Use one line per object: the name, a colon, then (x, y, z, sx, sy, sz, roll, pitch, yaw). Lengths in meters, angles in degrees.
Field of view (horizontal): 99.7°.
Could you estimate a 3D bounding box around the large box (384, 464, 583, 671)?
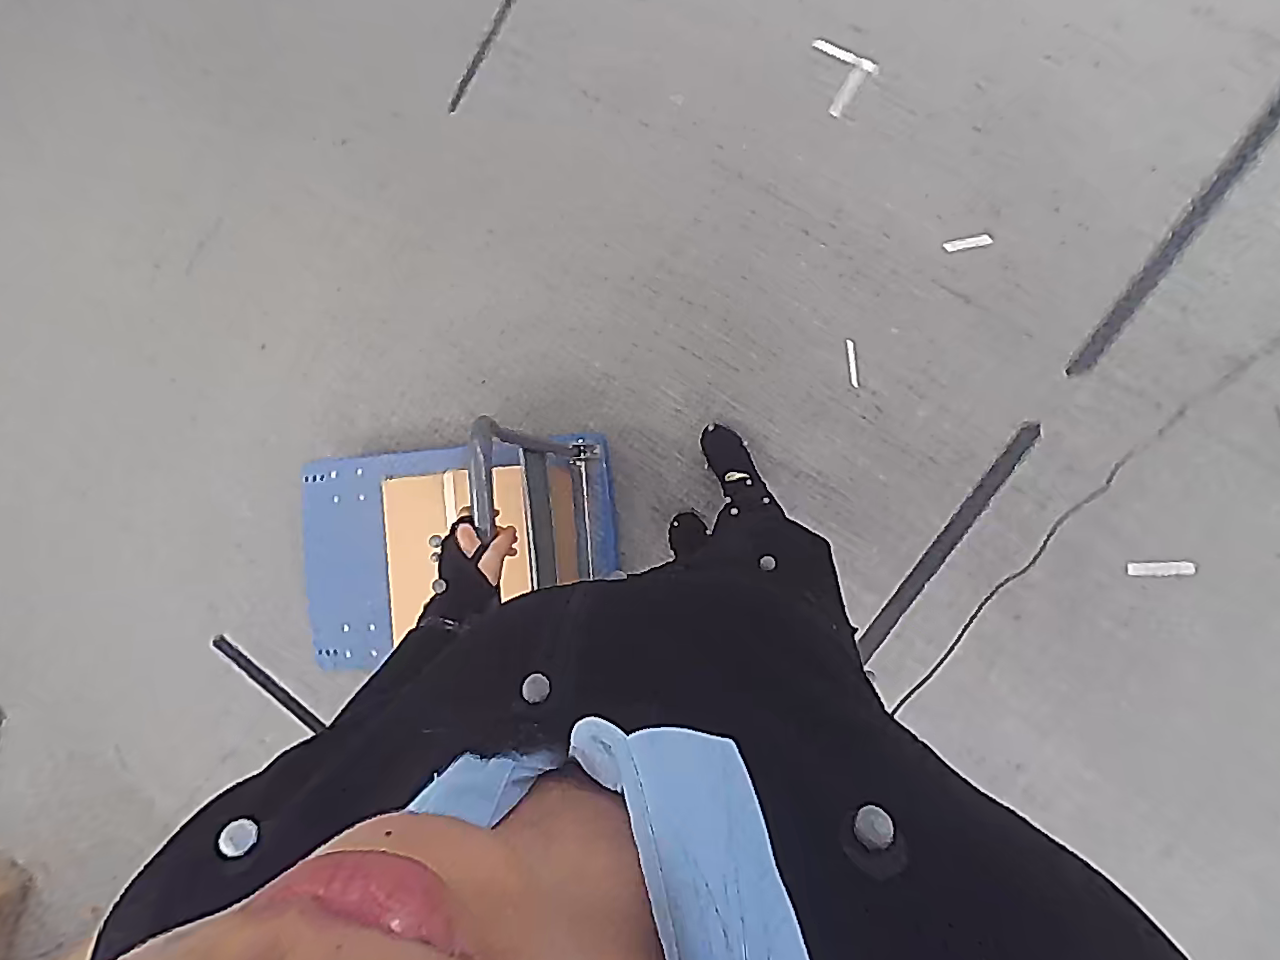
large box: (-0.336, 0.184, 1.236, 0.320, 0.320, 0.408, -6, 88, 10)
